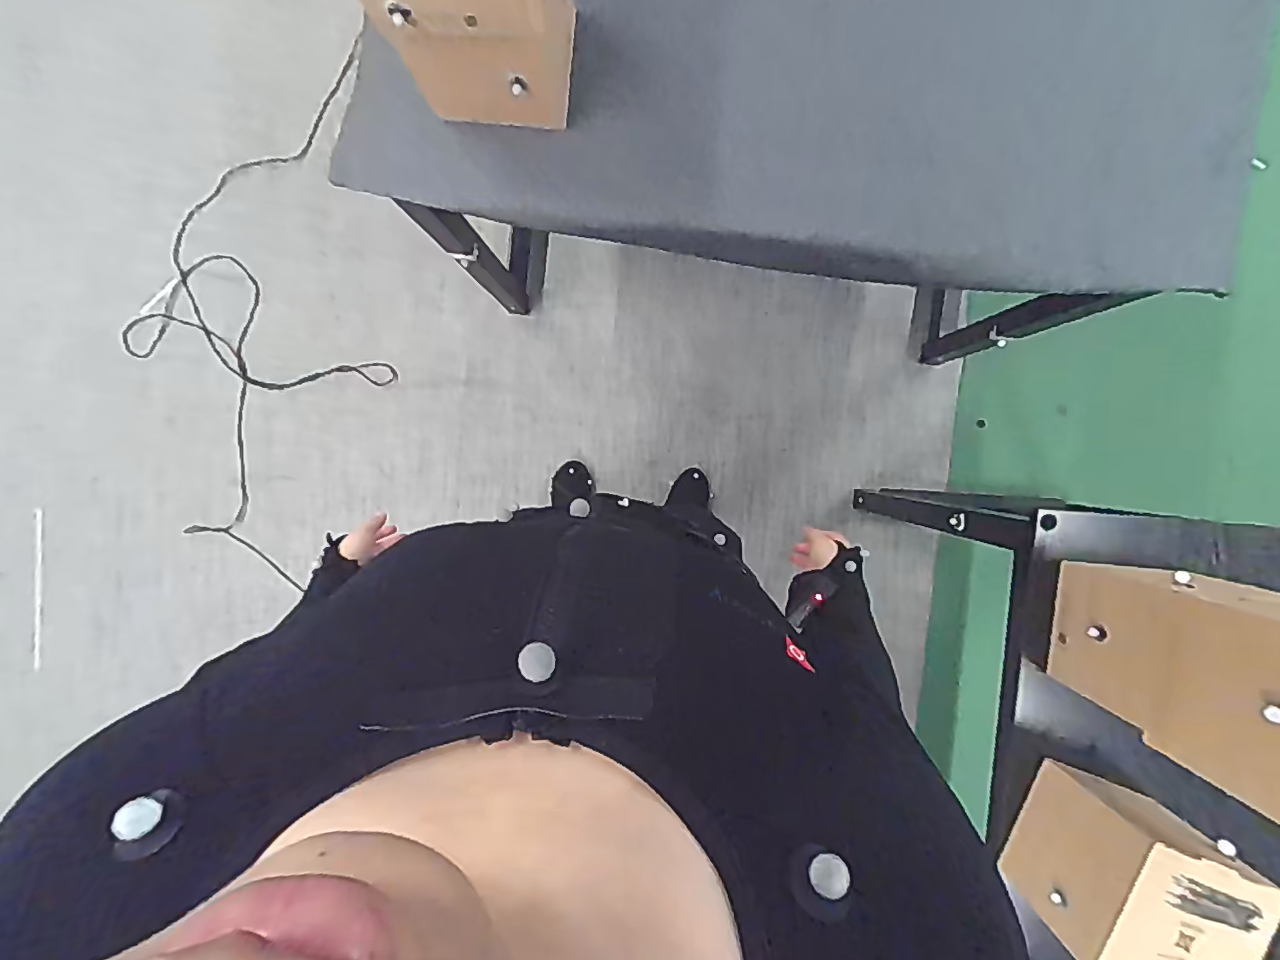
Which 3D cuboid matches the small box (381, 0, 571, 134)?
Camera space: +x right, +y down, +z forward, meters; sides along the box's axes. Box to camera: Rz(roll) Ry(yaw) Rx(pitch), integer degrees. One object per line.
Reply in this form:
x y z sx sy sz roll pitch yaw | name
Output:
-0.185 -0.557 0.662 0.179 0.176 0.168 5 90 2 | small box

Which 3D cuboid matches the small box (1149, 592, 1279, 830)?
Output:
0.634 0.218 0.503 0.168 0.176 0.179 5 93 2 | small box

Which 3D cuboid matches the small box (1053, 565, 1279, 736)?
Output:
0.657 0.205 0.664 0.179 0.176 0.168 5 94 1 | small box
